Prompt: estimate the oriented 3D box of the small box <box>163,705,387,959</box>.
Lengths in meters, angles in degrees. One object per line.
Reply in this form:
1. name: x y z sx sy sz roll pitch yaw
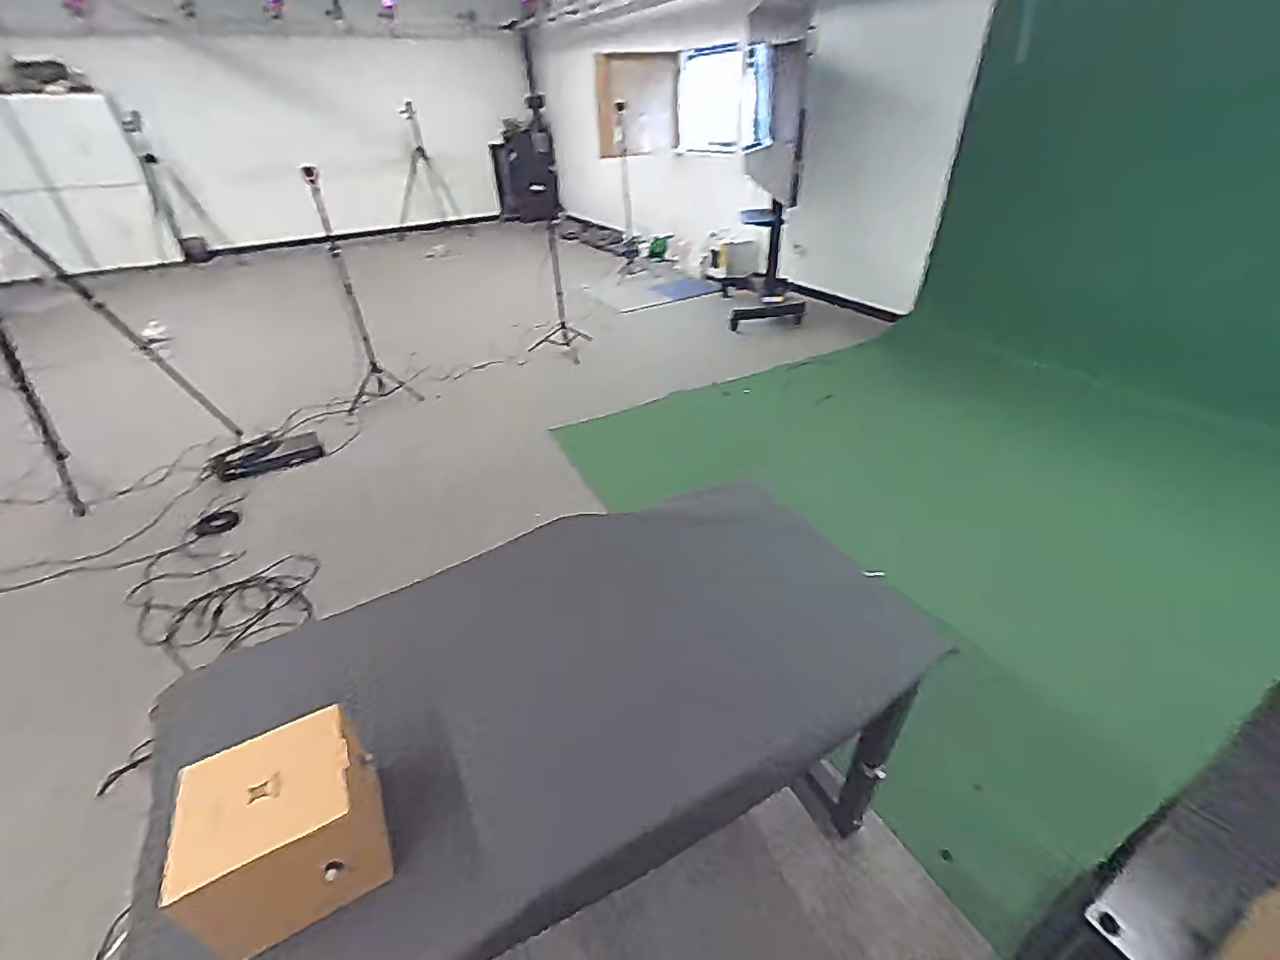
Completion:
1. small box: -0.431 0.427 0.668 0.179 0.176 0.168 -21 37 -23
